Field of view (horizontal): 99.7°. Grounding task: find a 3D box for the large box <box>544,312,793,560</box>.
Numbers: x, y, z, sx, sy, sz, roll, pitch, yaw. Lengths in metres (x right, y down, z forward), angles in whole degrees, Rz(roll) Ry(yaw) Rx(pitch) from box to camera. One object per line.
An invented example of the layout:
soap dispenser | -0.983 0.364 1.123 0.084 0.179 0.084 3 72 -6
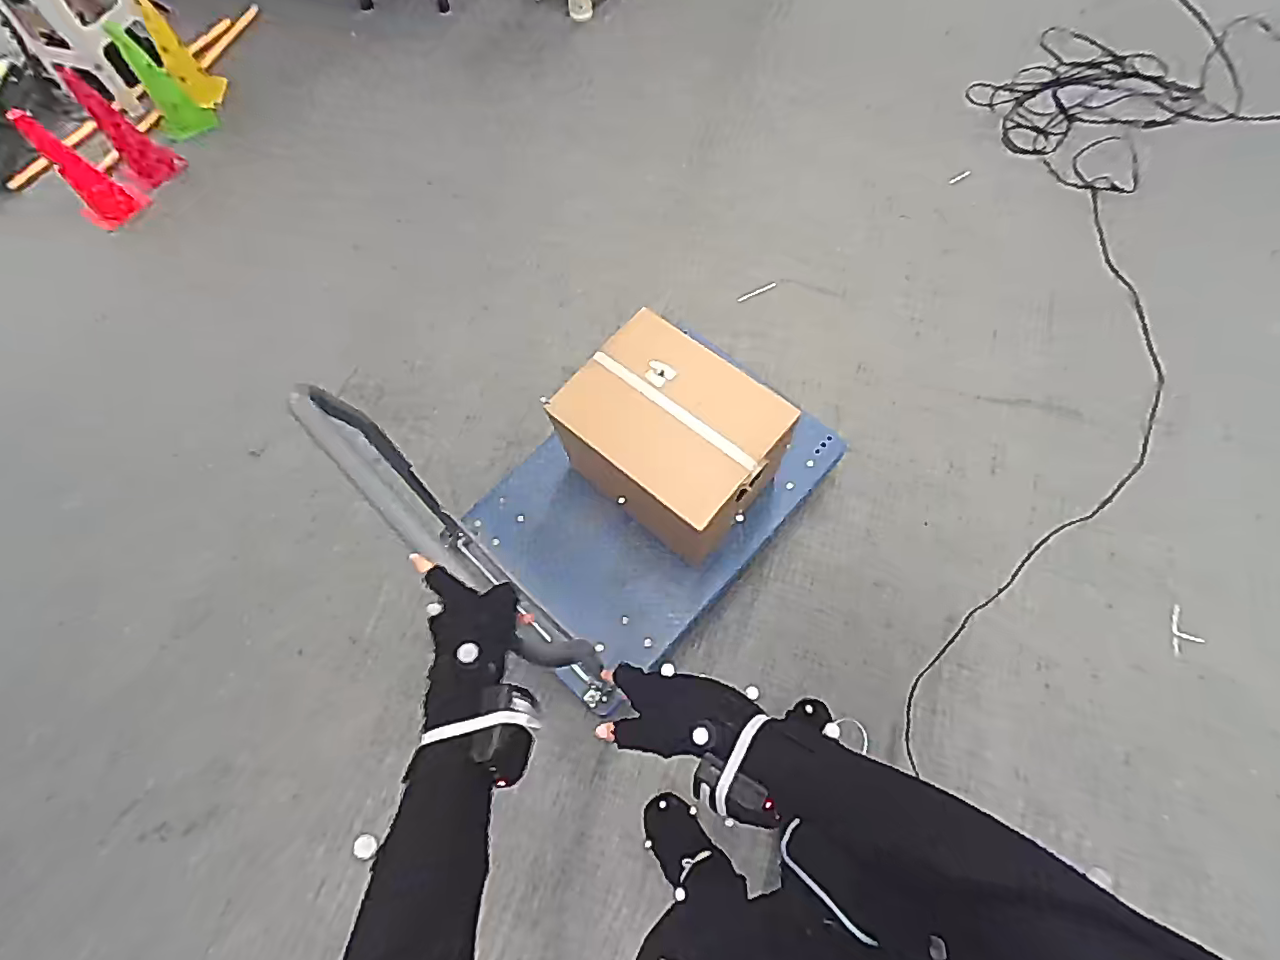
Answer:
large box | 0.066 -0.084 1.202 0.408 0.320 0.320 38 76 18
